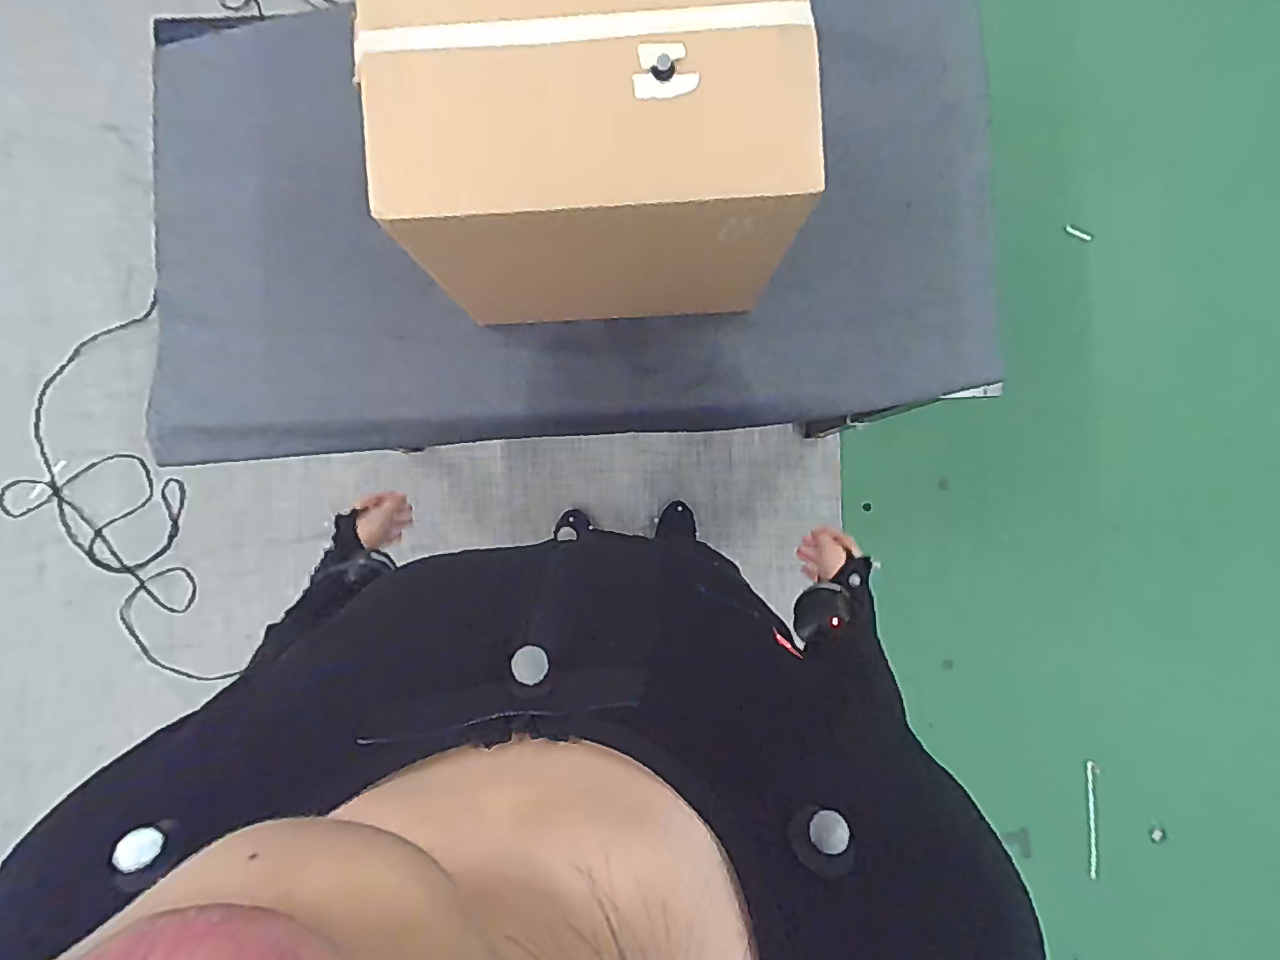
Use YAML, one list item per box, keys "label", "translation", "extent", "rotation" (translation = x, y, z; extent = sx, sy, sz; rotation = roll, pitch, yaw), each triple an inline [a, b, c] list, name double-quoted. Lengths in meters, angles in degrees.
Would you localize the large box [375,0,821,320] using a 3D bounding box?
- label: "large box"
  translation: [-0.045, -0.400, 0.643]
  extent: [0.408, 0.320, 0.320]
  rotation: [-4, 89, -1]
